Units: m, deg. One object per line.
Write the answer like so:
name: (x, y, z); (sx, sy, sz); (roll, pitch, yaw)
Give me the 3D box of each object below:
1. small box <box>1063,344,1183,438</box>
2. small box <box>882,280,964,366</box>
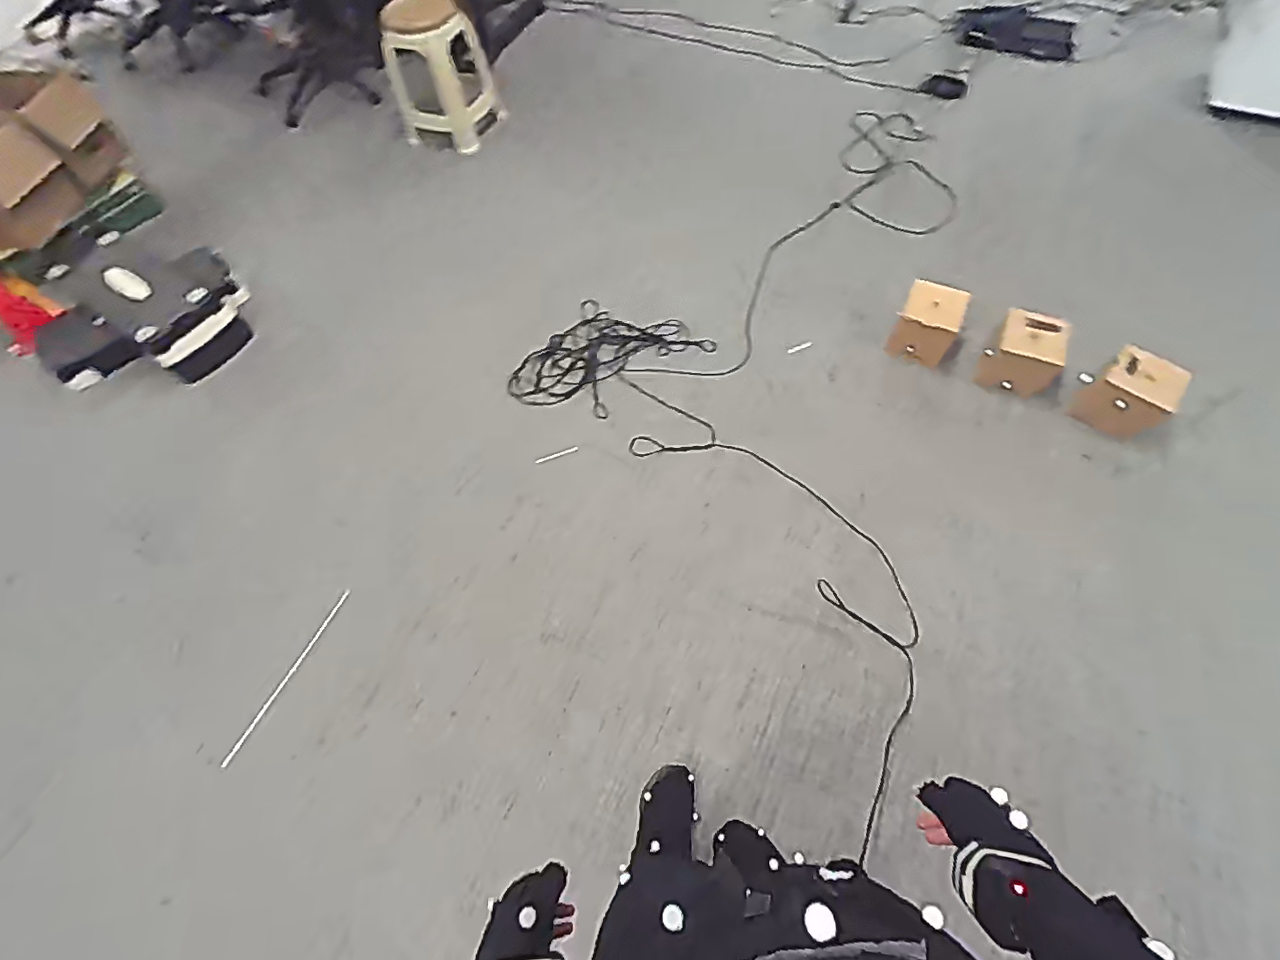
small box: (1.386, -0.251, 1.564); (0.179, 0.176, 0.168); (37, 71, 19)
small box: (0.899, -0.500, 1.729); (0.168, 0.176, 0.179); (22, 67, 15)
